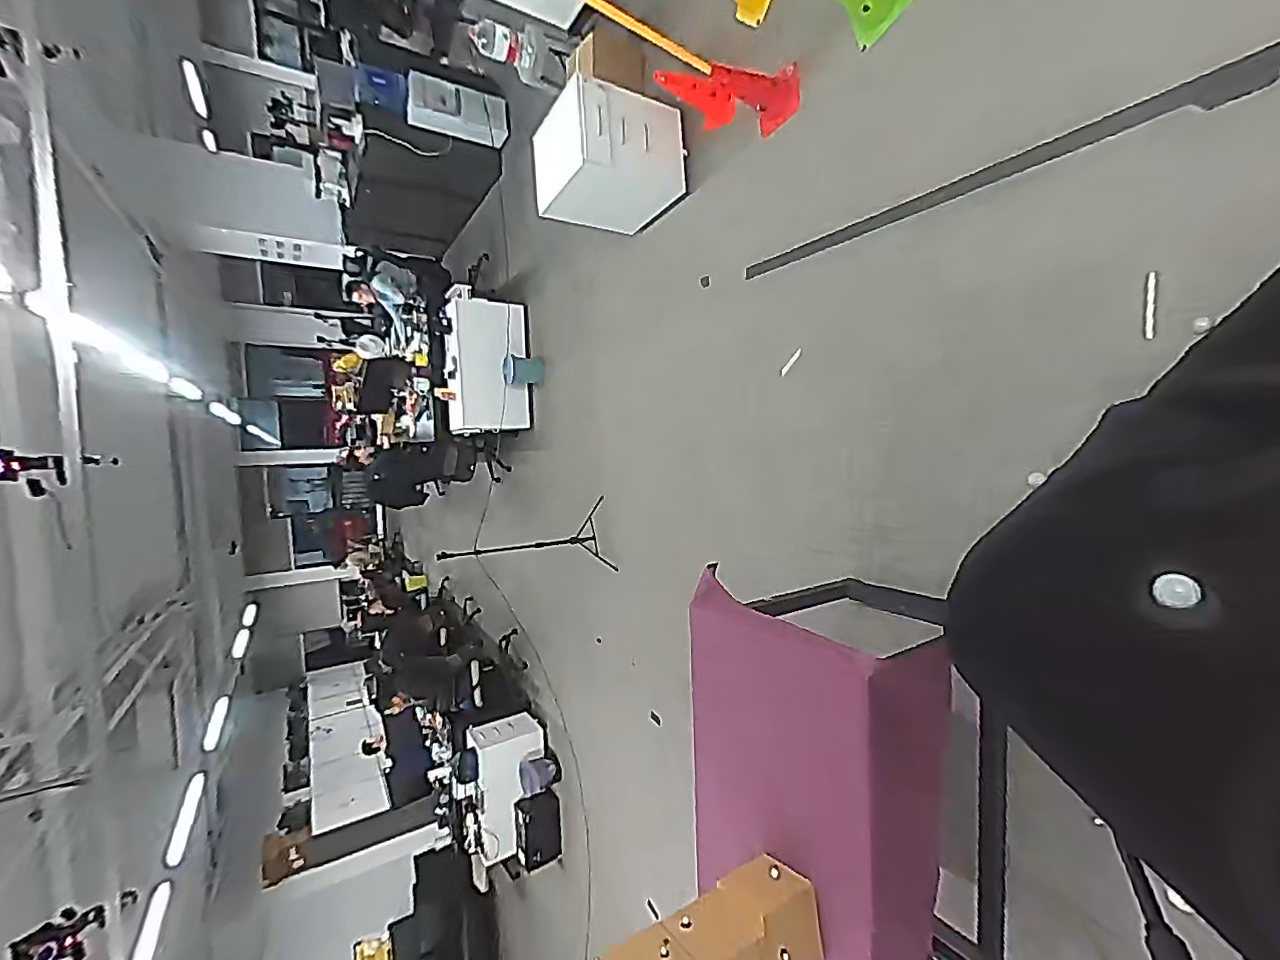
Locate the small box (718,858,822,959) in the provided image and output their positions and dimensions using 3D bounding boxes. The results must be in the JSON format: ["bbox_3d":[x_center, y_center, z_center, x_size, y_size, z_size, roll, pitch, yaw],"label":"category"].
[{"bbox_3d":[0.312,1.055,1.287,0.168,0.176,0.179,-16,80,57],"label":"small box"}]

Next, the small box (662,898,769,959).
[{"bbox_3d":[0.169,1.087,1.208,0.179,0.176,0.168,-6,89,58],"label":"small box"}]
